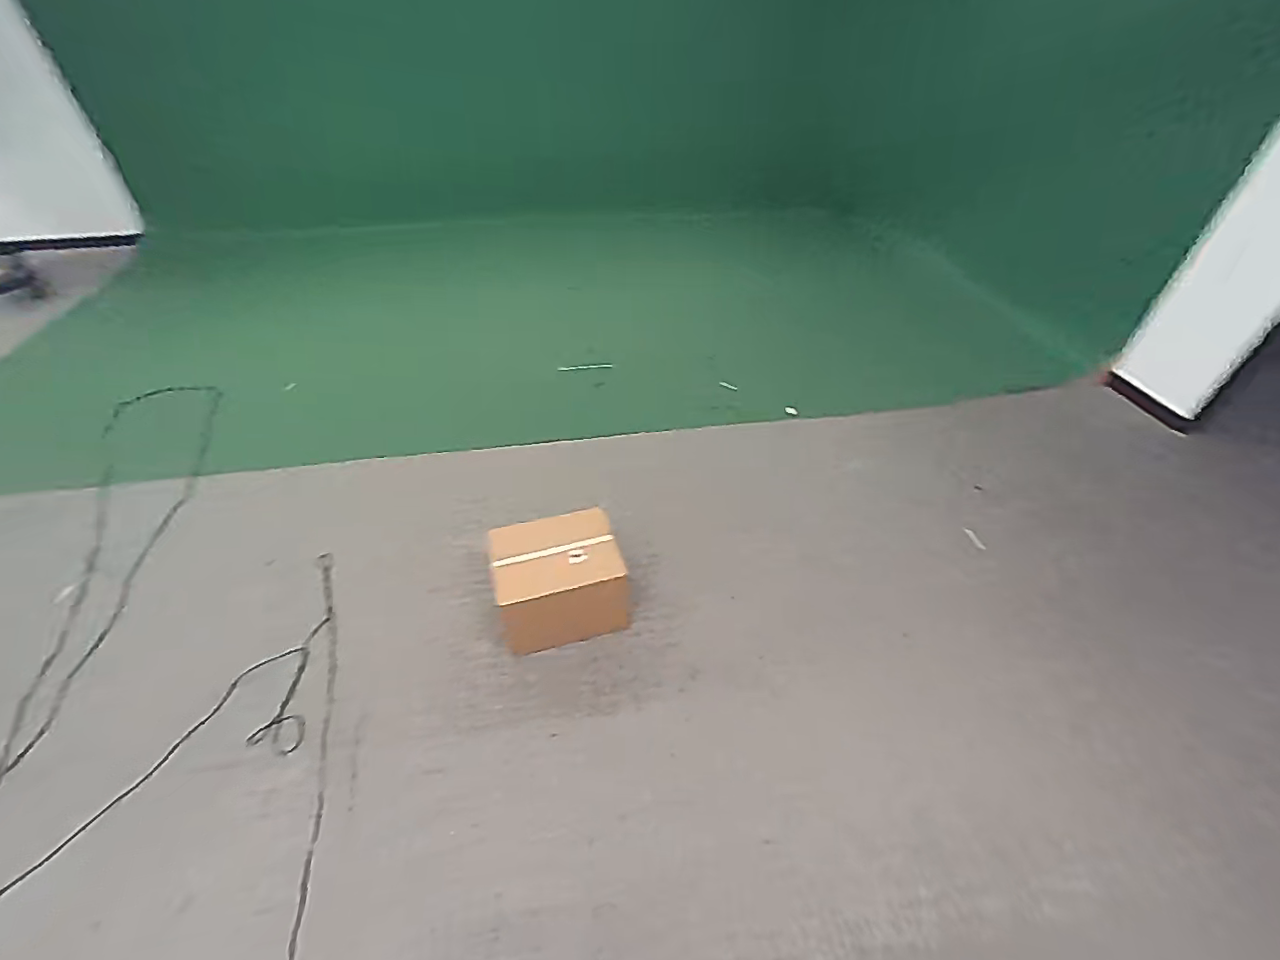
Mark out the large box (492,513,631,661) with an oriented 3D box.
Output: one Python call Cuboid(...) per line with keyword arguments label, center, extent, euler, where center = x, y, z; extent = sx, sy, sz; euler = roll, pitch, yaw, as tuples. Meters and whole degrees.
Cuboid(label="large box", center=(-0.264, 0.361, 1.851), extent=(0.408, 0.320, 0.320), euler=(-11, 44, -13))
